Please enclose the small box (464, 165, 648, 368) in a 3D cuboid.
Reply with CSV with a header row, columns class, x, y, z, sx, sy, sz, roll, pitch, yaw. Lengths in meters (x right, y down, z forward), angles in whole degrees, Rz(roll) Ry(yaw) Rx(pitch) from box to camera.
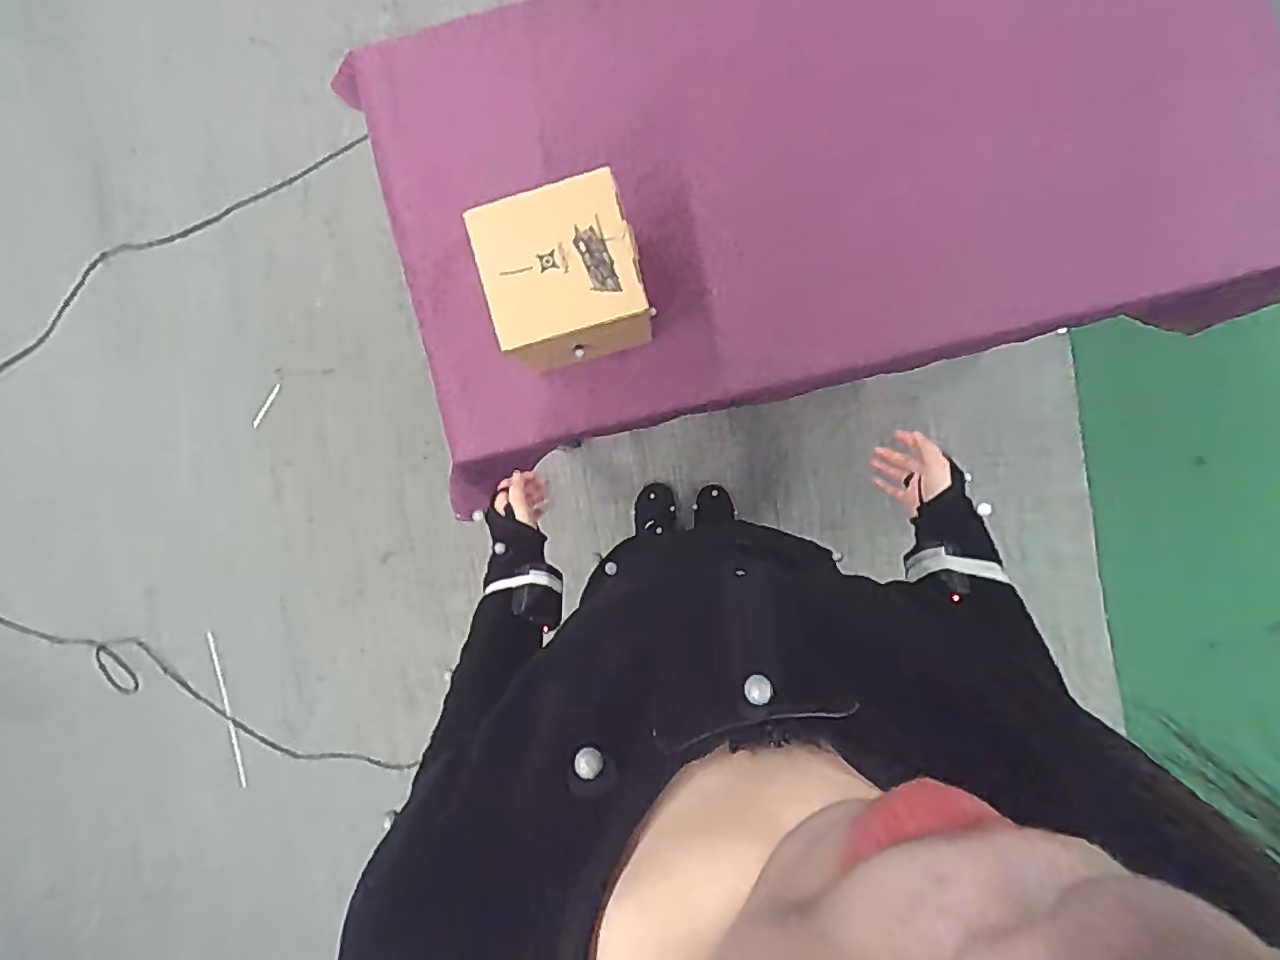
class,x,y,z,sx,sy,sz,roll,pitch,yaw
small box,-0.090,-0.252,0.683,0.179,0.176,0.168,-15,91,5
